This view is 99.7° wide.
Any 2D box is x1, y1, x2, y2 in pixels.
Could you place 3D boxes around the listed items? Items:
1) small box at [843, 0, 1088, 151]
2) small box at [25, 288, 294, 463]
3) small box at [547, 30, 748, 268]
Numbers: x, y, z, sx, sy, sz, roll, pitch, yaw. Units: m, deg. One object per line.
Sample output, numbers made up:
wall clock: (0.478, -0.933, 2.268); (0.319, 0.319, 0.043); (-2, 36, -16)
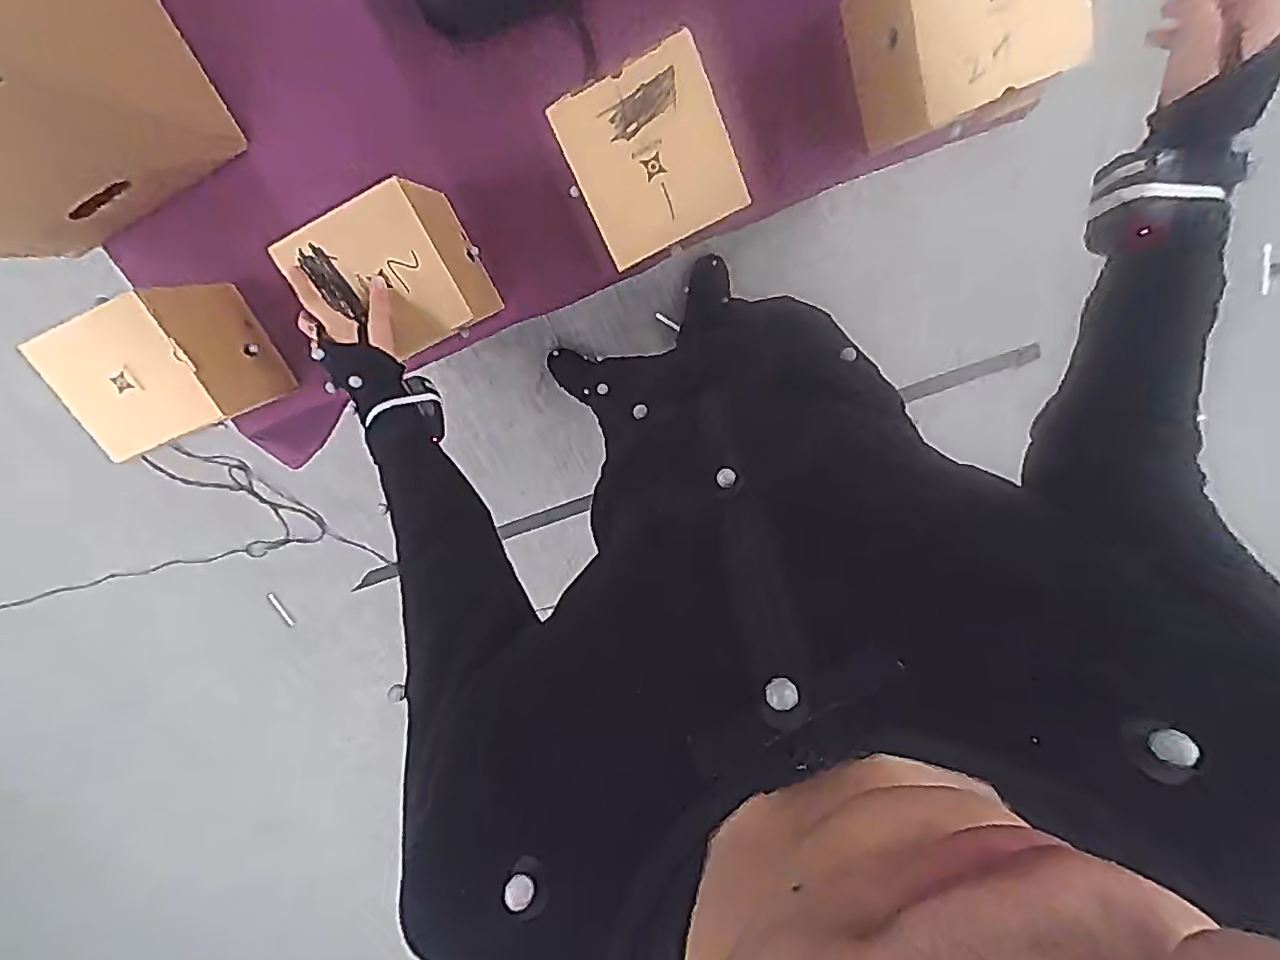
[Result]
small box: (0.343, -0.498, 0.596); (0.168, 0.176, 0.179); (-19, 111, 9)
small box: (-0.631, -0.148, 0.738); (0.179, 0.176, 0.168); (-22, 111, 7)
small box: (0.009, -0.373, 0.648); (0.168, 0.176, 0.179); (-24, 111, 10)
